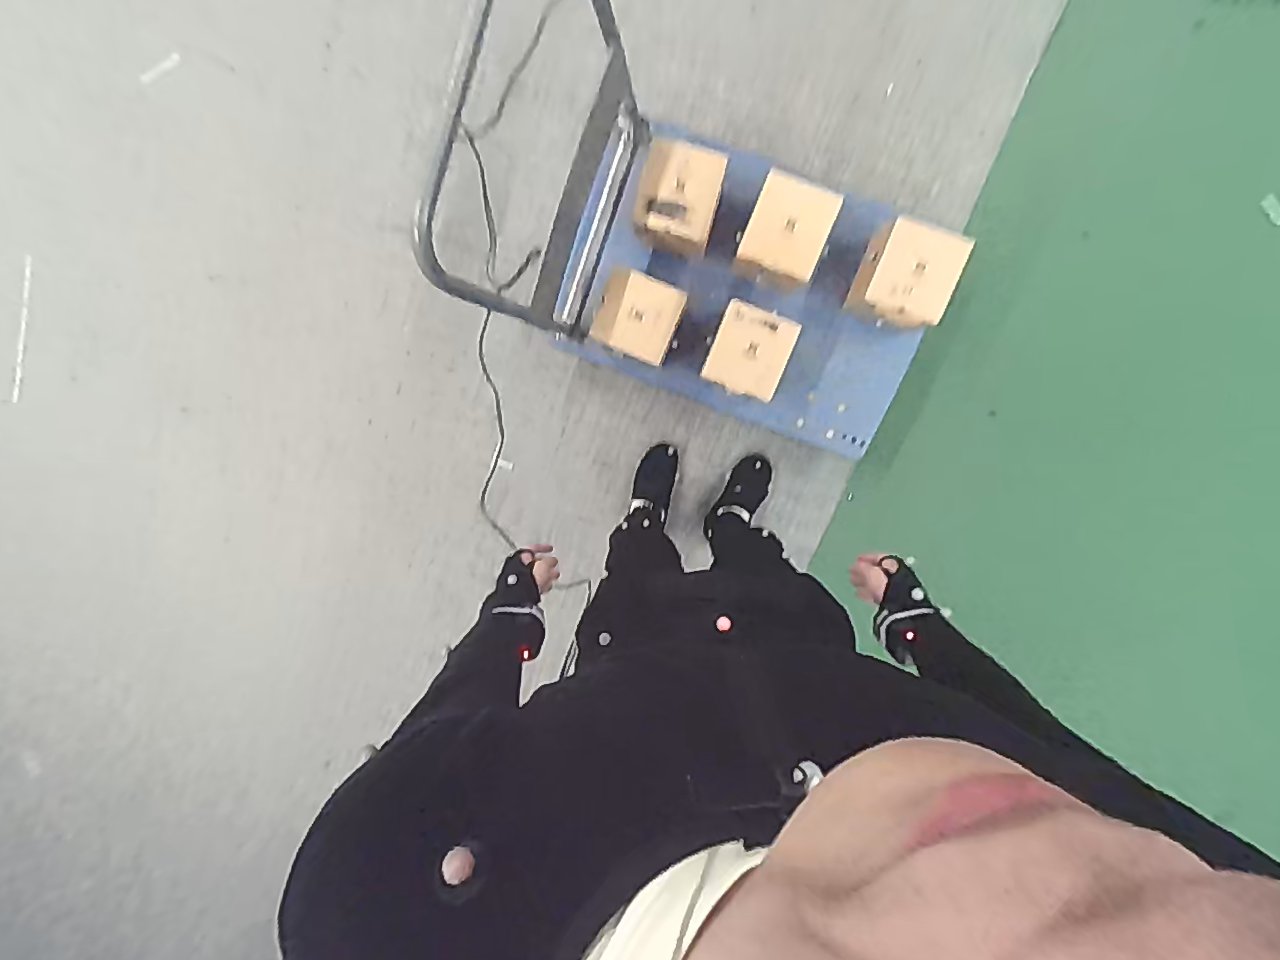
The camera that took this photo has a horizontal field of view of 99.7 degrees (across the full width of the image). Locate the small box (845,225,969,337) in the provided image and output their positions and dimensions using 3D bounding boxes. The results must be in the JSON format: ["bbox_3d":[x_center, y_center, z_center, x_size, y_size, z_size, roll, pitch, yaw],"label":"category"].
[{"bbox_3d":[0.582,-0.435,1.210,0.168,0.176,0.179,21,101,2],"label":"small box"}]

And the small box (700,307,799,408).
[{"bbox_3d":[0.247,-0.281,1.263,0.168,0.176,0.179,22,101,0],"label":"small box"}]

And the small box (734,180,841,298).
[{"bbox_3d":[0.320,-0.532,1.219,0.168,0.176,0.179,22,102,0],"label":"small box"}]

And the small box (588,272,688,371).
[{"bbox_3d":[-0.001,-0.362,1.272,0.179,0.176,0.168,24,101,0],"label":"small box"}]
